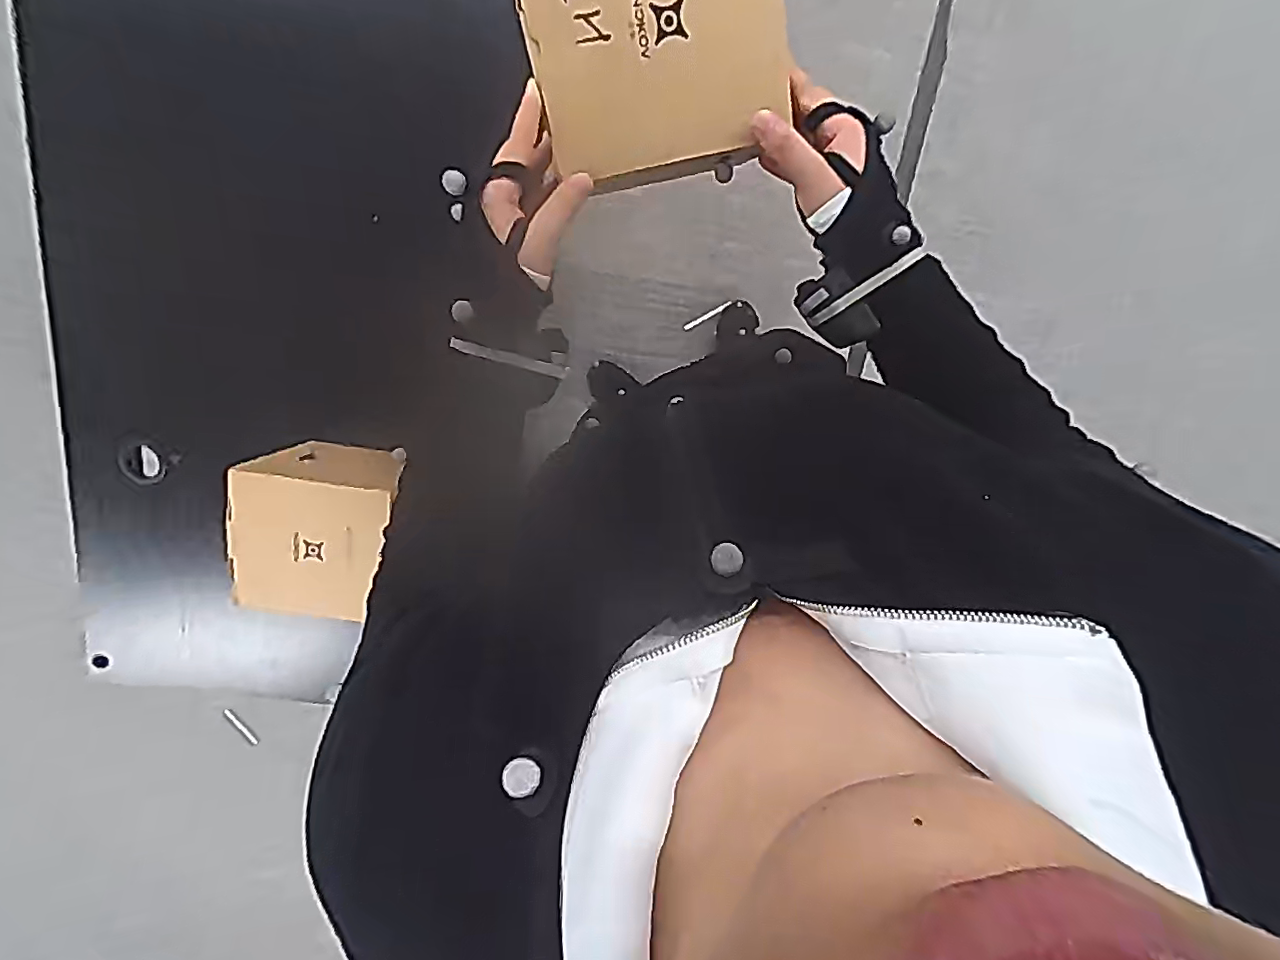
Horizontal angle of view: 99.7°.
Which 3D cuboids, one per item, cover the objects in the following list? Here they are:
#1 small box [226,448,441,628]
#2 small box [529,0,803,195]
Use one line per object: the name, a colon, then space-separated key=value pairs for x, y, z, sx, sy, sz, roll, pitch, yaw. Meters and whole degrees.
small box: x=-0.367 y=0.061 z=0.674 sx=0.179 sy=0.176 sz=0.168 roll=7 pitch=105 yaw=-4
small box: x=0.013 y=-0.333 z=0.424 sx=0.179 sy=0.176 sz=0.168 roll=-10 pitch=114 yaw=2
